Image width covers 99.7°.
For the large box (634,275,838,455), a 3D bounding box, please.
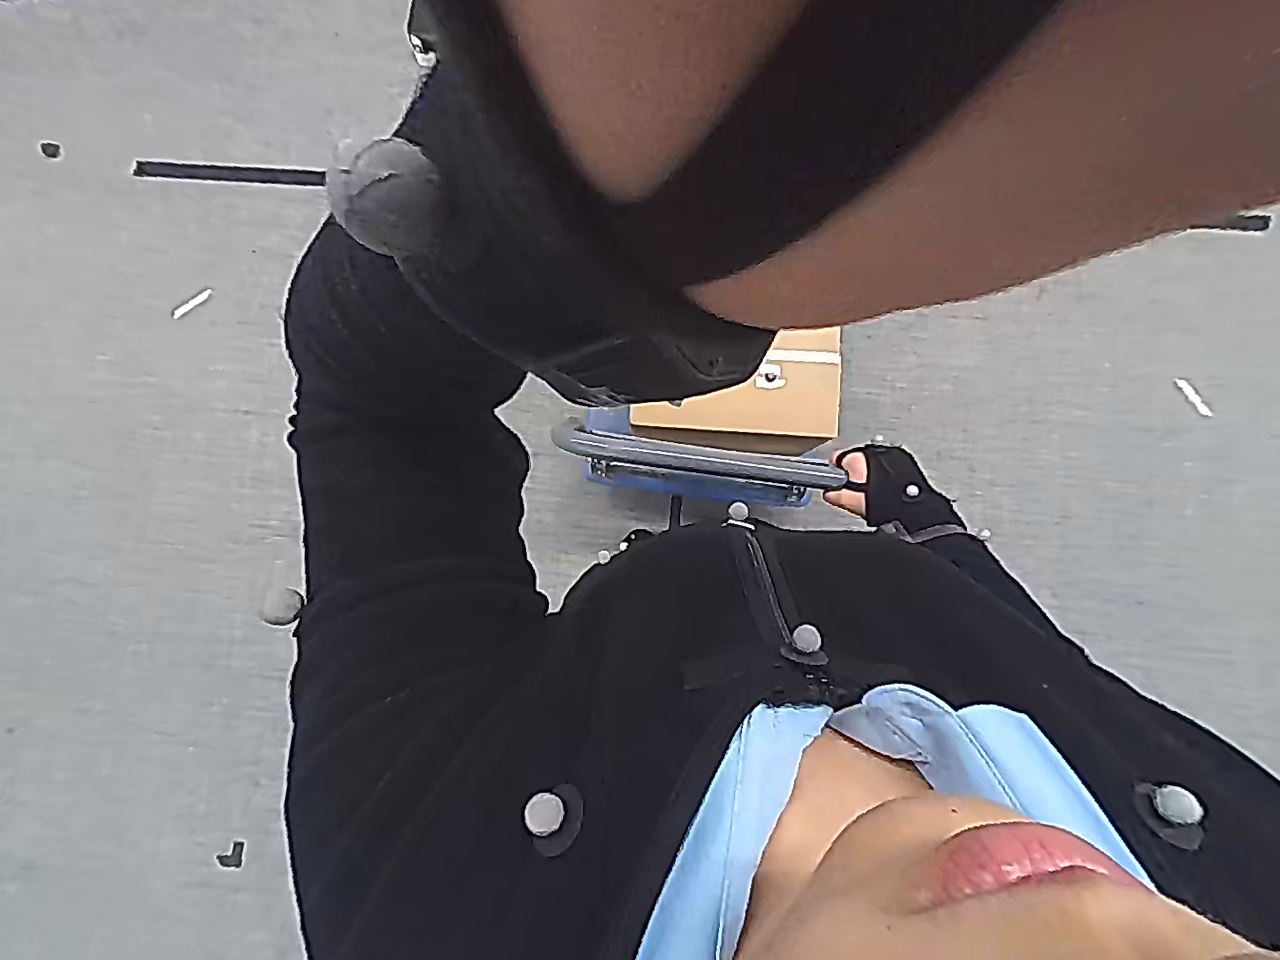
[{"bbox_3d":[0.193,-0.237,1.223,0.408,0.320,0.320,4,85,0],"label":"large box"}]
